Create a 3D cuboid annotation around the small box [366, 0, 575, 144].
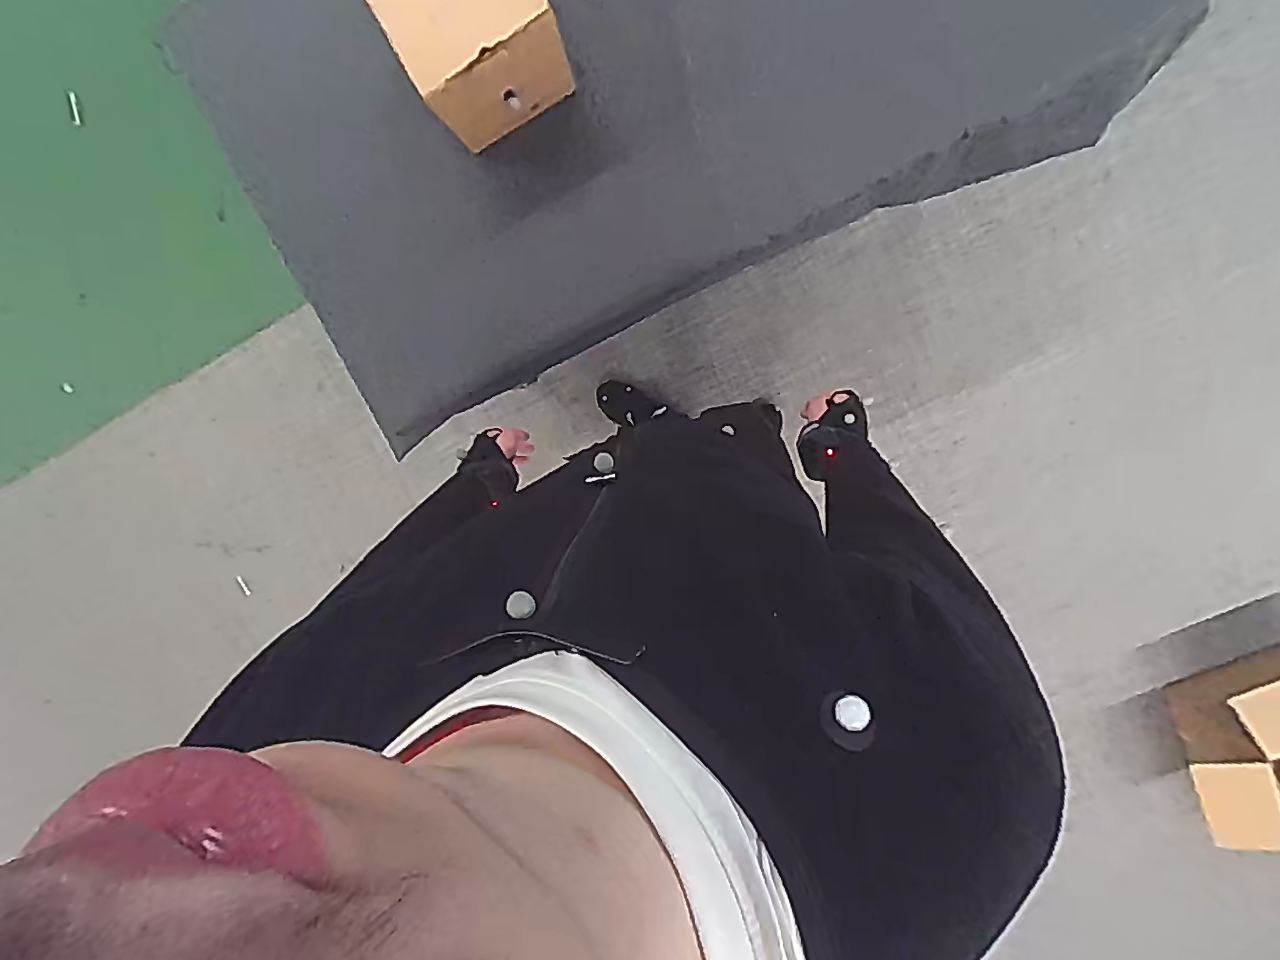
[{"bbox_3d":[-0.197,-0.536,0.641,0.168,0.176,0.179,-31,99,10],"label":"small box"}]
